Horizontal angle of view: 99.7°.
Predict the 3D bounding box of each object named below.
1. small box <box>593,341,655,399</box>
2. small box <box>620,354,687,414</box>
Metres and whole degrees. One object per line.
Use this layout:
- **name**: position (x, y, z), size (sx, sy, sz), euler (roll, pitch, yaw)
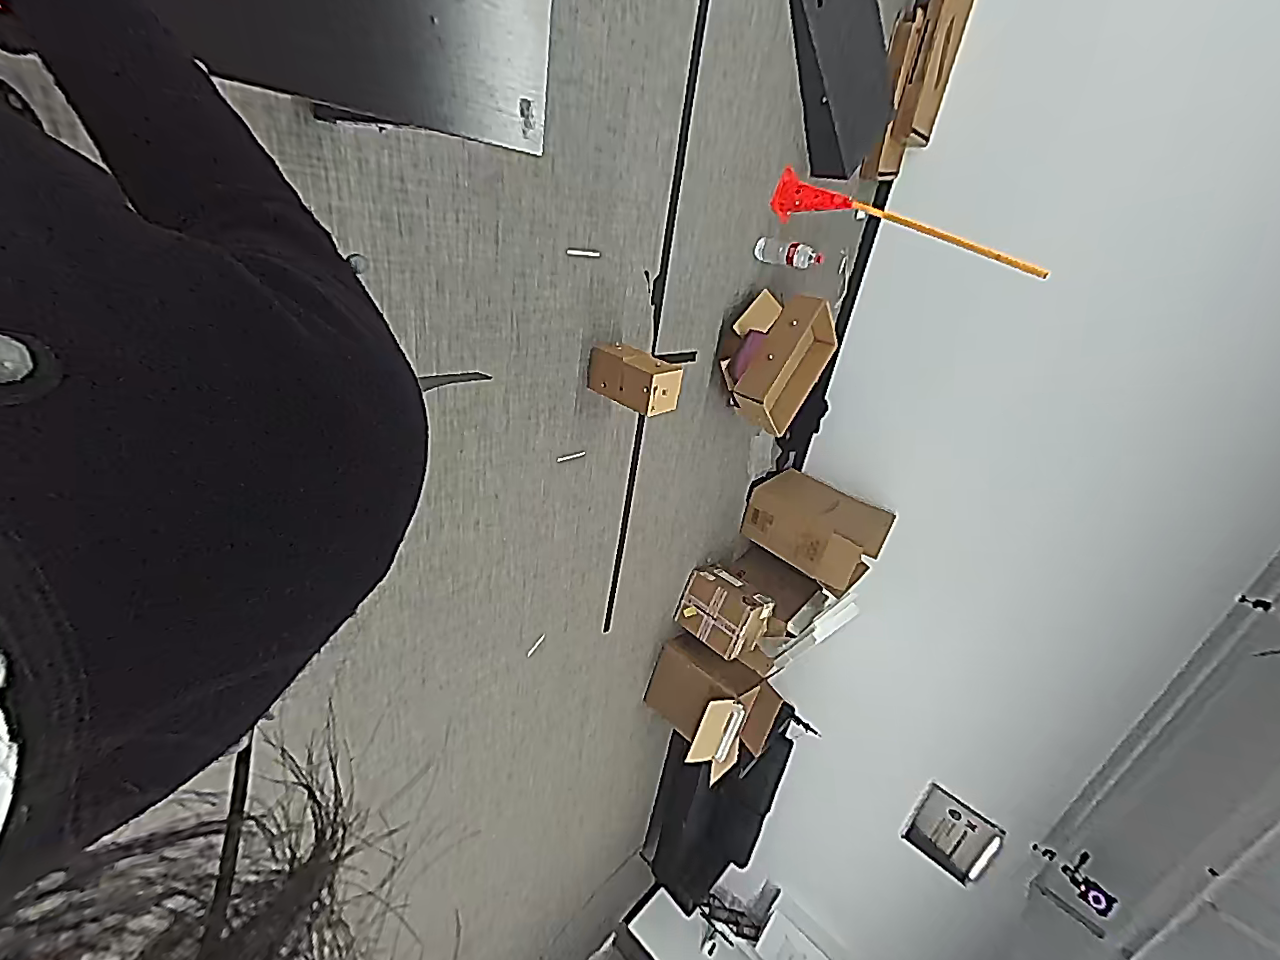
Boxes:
- **small box**: position (-0.068, -0.437, 2.136), size (0.168, 0.176, 0.179), euler (-20, 129, -45)
- **small box**: position (0.049, -0.368, 2.045), size (0.179, 0.176, 0.168), euler (-23, 131, -44)
